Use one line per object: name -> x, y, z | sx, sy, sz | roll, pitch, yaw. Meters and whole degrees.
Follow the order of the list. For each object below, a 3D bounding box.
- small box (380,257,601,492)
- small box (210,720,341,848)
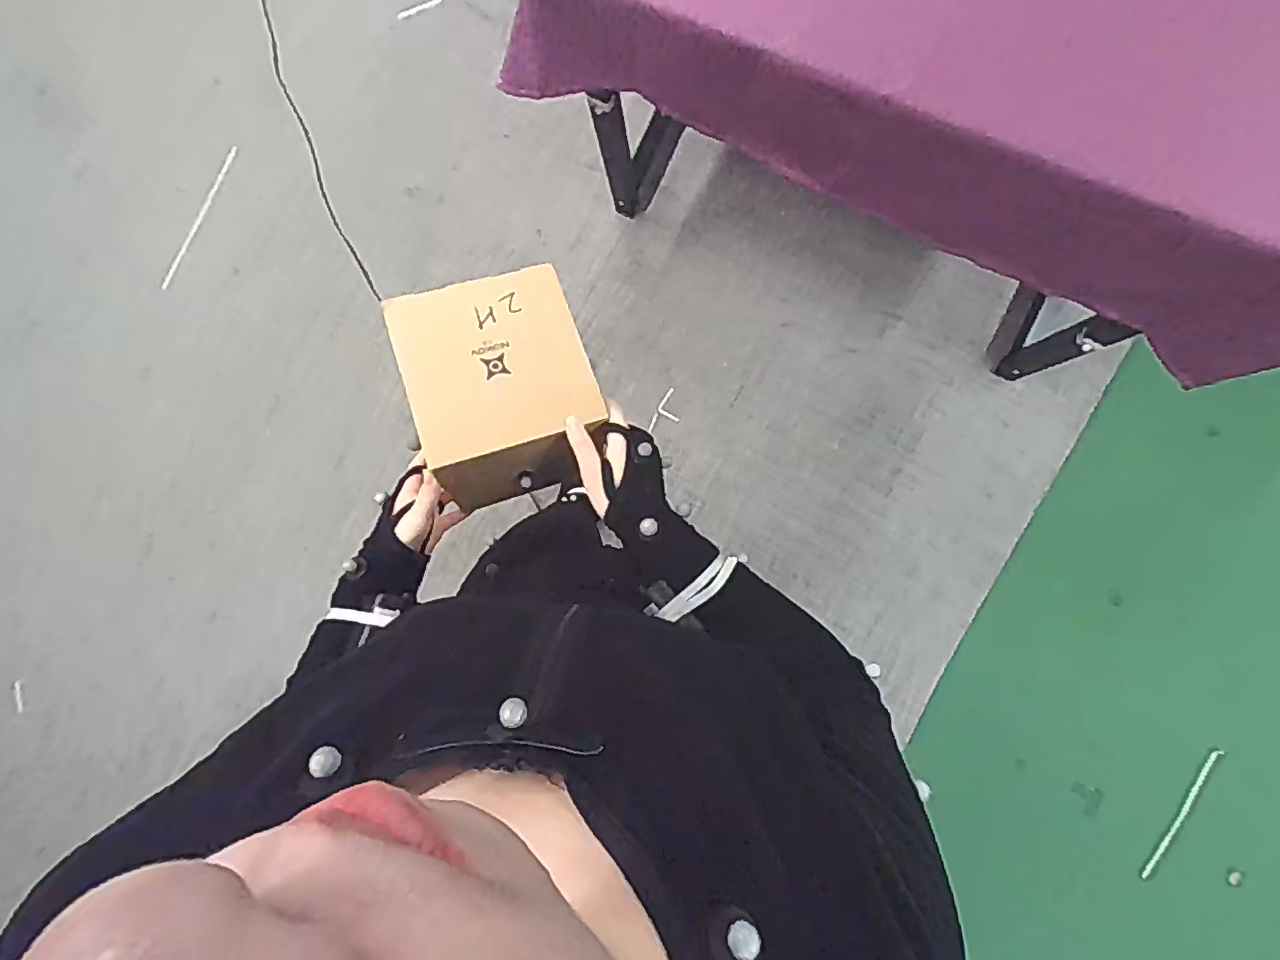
small box -> -0.147, -0.097, 0.574 | 0.168, 0.176, 0.179 | -18, 78, -12
small box -> -0.870, 0.725, 1.314 | 0.168, 0.176, 0.179 | 33, 92, 5
